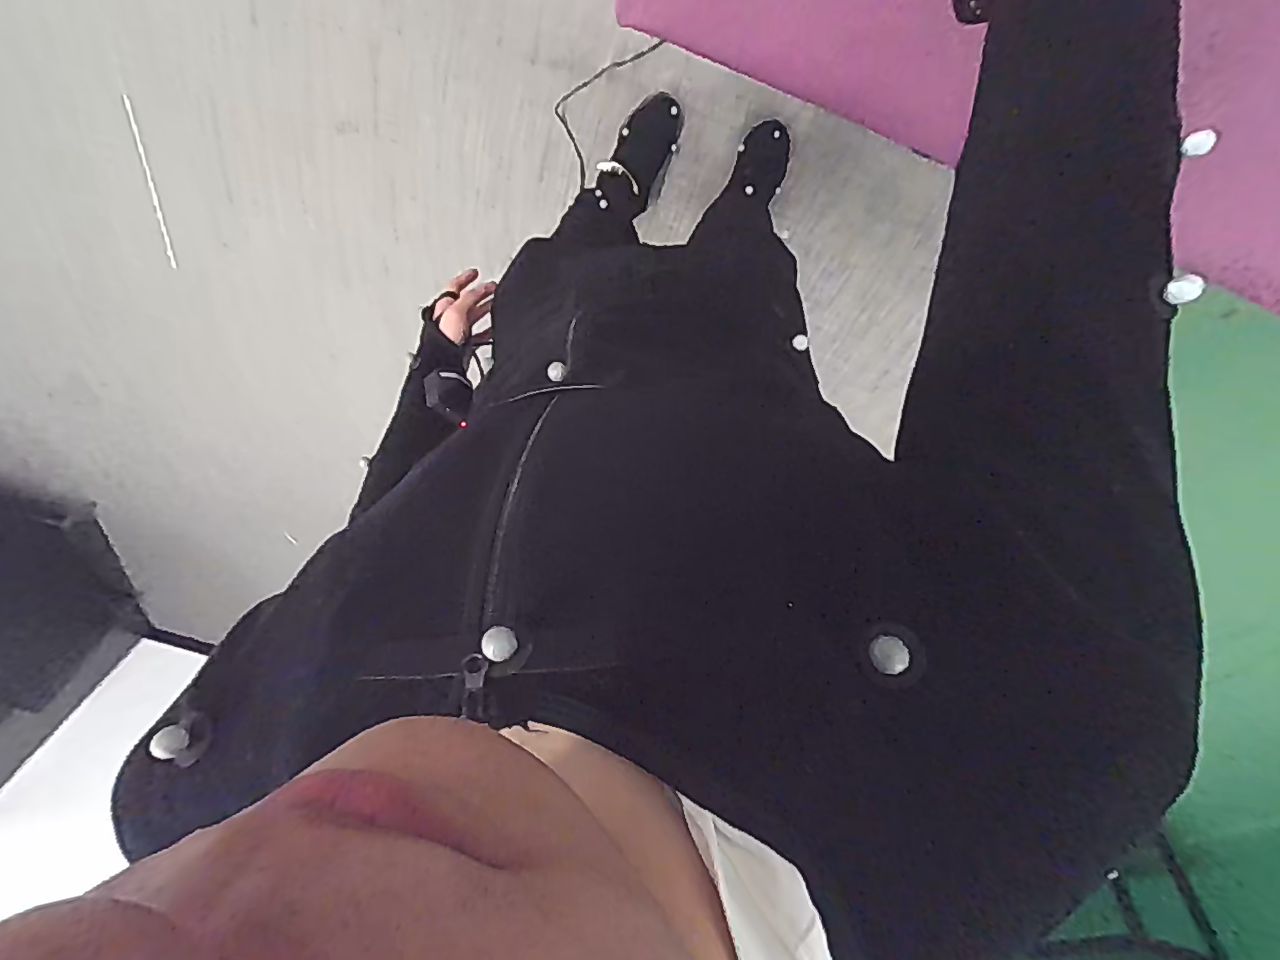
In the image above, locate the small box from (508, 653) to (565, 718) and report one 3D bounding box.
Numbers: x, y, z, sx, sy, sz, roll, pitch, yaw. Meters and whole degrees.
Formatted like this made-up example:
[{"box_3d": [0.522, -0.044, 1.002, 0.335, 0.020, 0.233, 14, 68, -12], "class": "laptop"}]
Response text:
[{"box_3d": [-0.414, 0.828, 2.187, 0.168, 0.176, 0.179, 23, 130, -10], "class": "small box"}]
